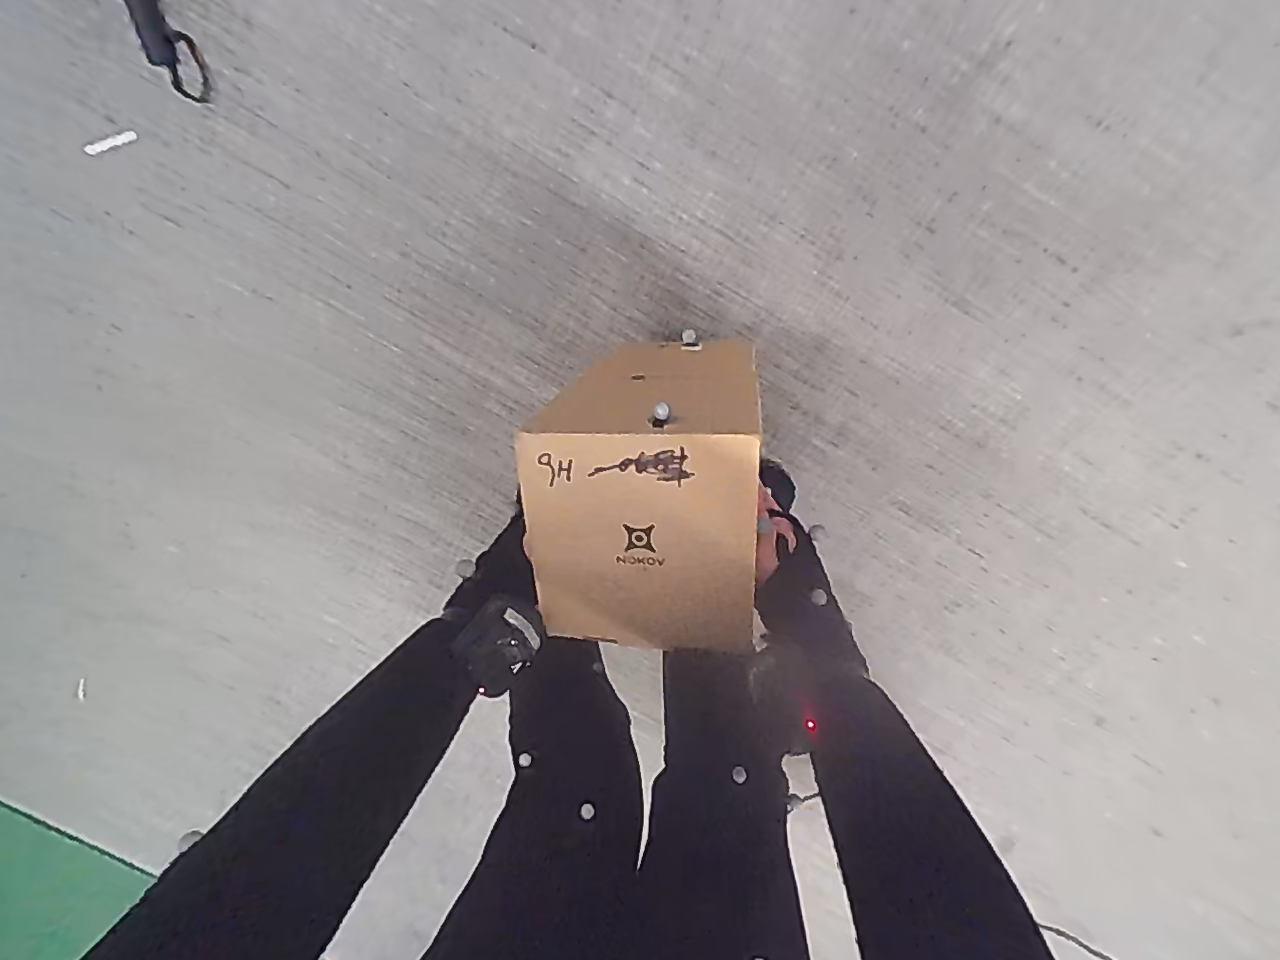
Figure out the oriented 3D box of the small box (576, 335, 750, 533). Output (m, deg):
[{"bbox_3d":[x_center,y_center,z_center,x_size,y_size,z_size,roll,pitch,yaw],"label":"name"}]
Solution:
[{"bbox_3d":[0.038,-0.059,0.606,0.168,0.176,0.179,1,113,11],"label":"small box"}]
